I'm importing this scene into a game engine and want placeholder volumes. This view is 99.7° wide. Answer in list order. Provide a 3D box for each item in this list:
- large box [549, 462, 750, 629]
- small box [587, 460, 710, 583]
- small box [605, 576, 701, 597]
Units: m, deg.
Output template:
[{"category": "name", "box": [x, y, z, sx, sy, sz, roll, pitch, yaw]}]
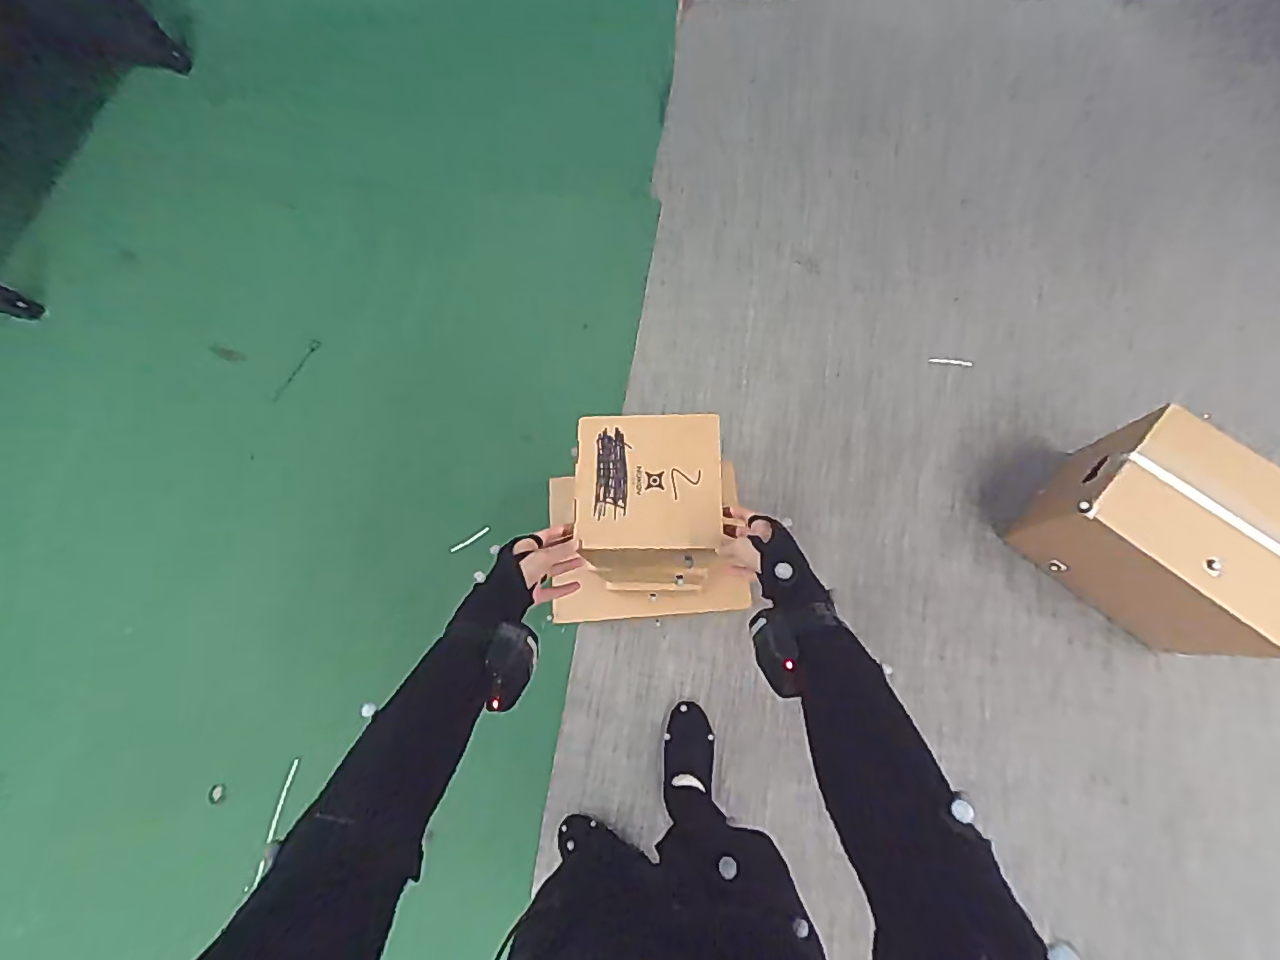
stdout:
[{"category": "large box", "box": [0.027, 0.171, 1.261, 0.408, 0.320, 0.320, -6, 71, 5]}, {"category": "small box", "box": [0.021, 0.073, 0.865, 0.179, 0.176, 0.168, 1, 73, 5]}, {"category": "small box", "box": [0.032, 0.126, 1.017, 0.168, 0.176, 0.179, 0, 73, 5]}]
